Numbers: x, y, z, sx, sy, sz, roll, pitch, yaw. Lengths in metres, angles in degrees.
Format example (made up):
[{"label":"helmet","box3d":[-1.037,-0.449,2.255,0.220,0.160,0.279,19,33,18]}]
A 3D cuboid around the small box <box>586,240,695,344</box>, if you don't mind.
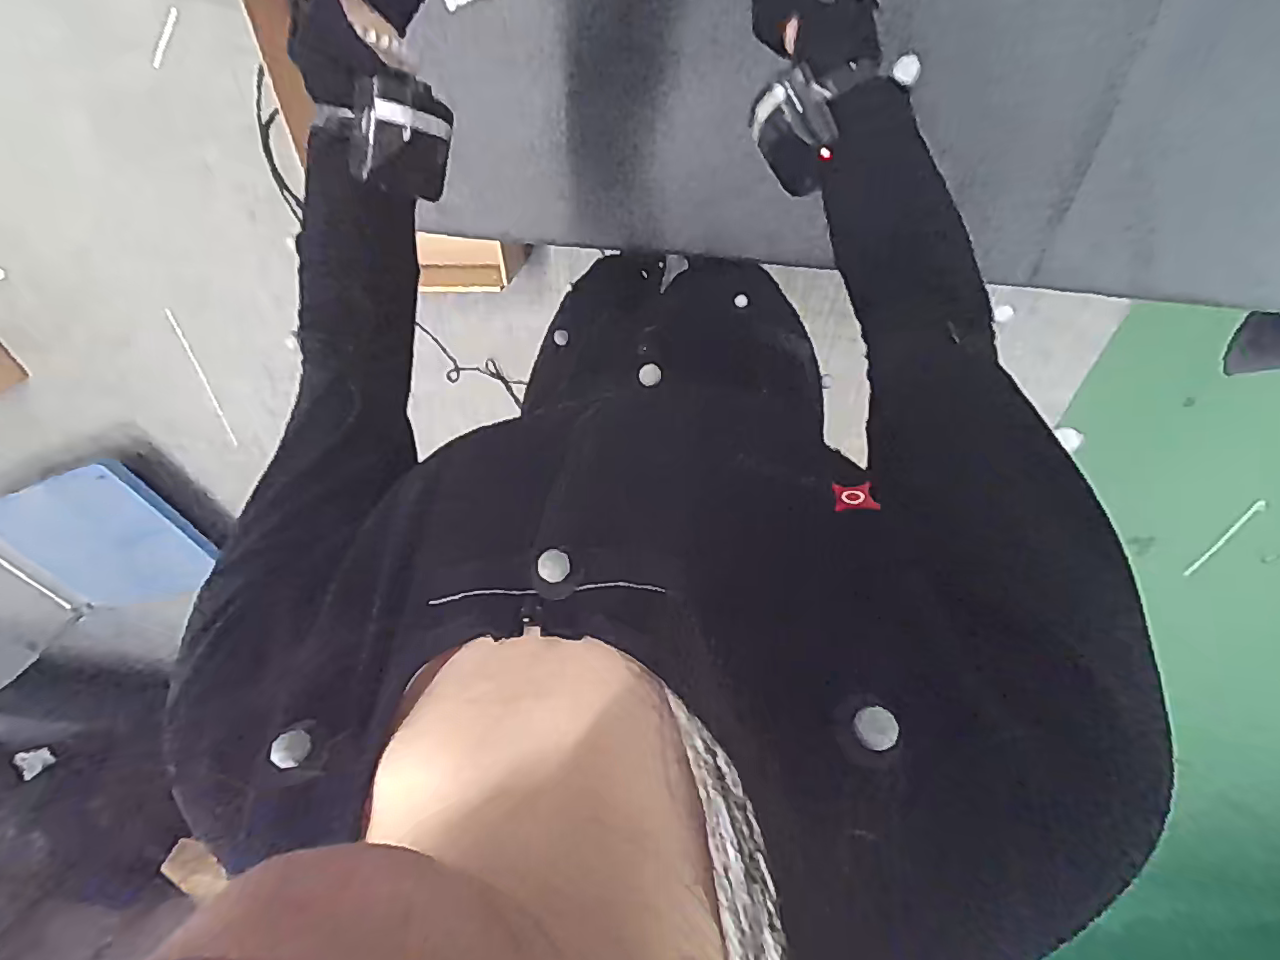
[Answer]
[{"label":"small box","box3d":[-0.004,-0.445,1.294,0.168,0.176,0.179,-40,83,32]}]
